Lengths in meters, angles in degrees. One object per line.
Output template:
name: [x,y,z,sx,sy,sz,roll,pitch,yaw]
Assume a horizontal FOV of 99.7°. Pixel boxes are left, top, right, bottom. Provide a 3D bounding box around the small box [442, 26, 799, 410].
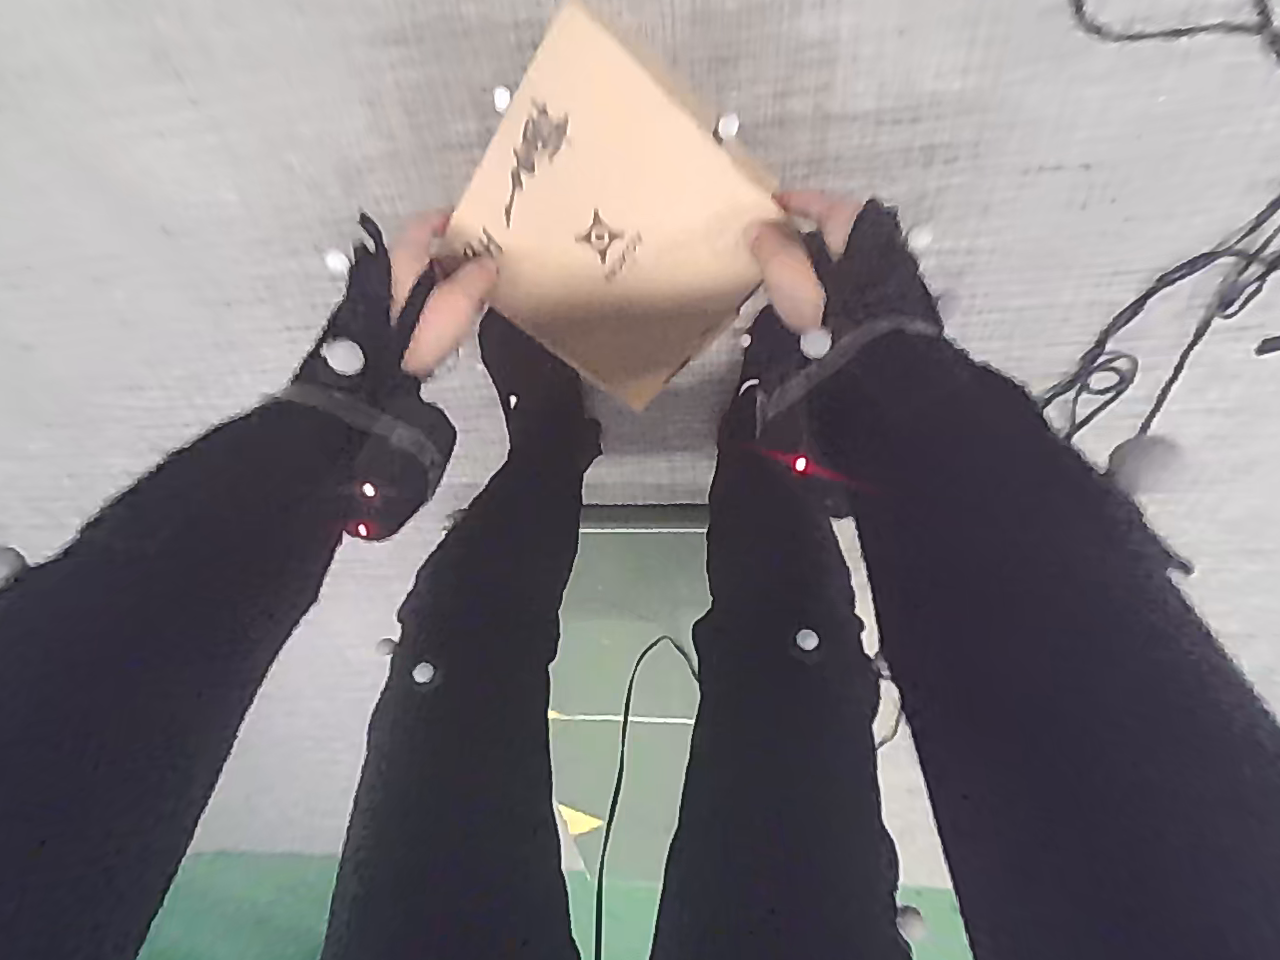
small box: [-0.008,-0.193,0.409,0.179,0.176,0.168,35,124,-18]
